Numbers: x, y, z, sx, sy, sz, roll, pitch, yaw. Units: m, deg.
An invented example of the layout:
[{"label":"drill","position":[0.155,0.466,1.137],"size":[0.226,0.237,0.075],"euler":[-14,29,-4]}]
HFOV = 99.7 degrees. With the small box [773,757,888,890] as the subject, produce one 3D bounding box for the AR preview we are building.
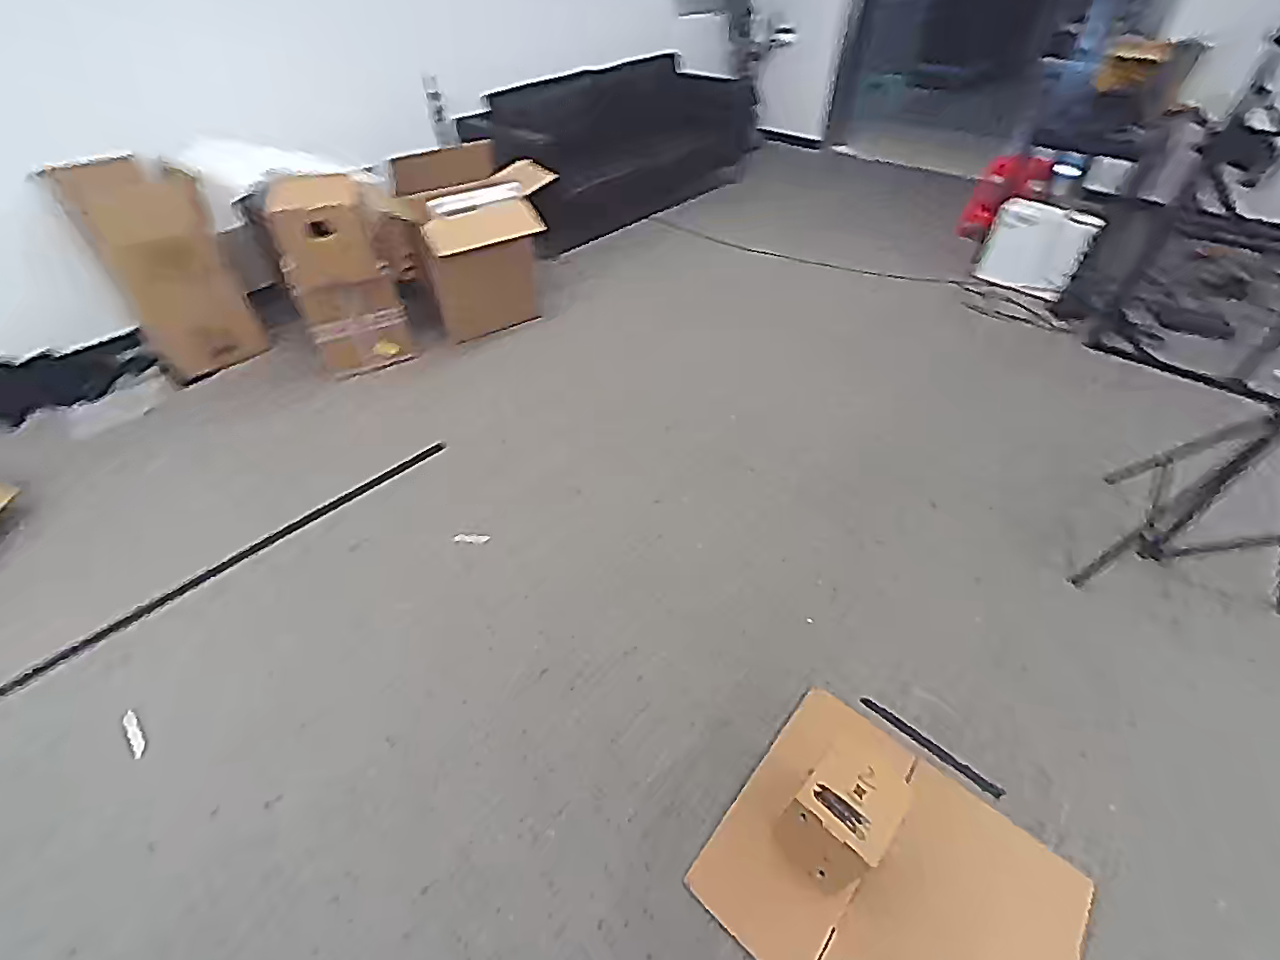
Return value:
[{"label":"small box","position":[0.416,0.771,1.211],"size":[0.179,0.176,0.168],"euler":[-34,55,-29]}]
